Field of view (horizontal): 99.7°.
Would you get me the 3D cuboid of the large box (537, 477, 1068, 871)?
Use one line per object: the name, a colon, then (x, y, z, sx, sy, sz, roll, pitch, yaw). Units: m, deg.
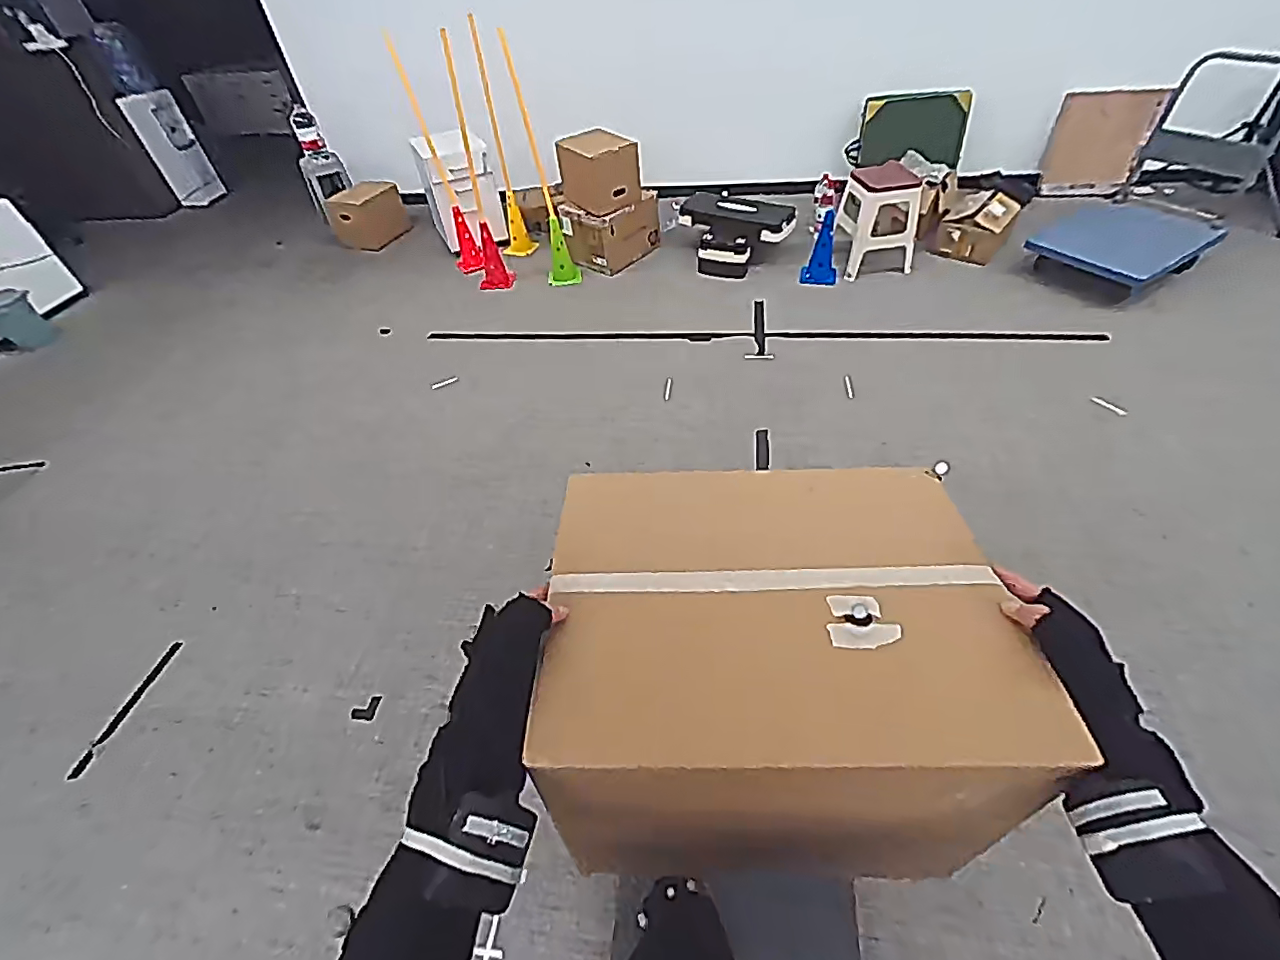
large box: (0.124, 0.214, 0.609, 0.408, 0.320, 0.320, -1, 42, 2)
